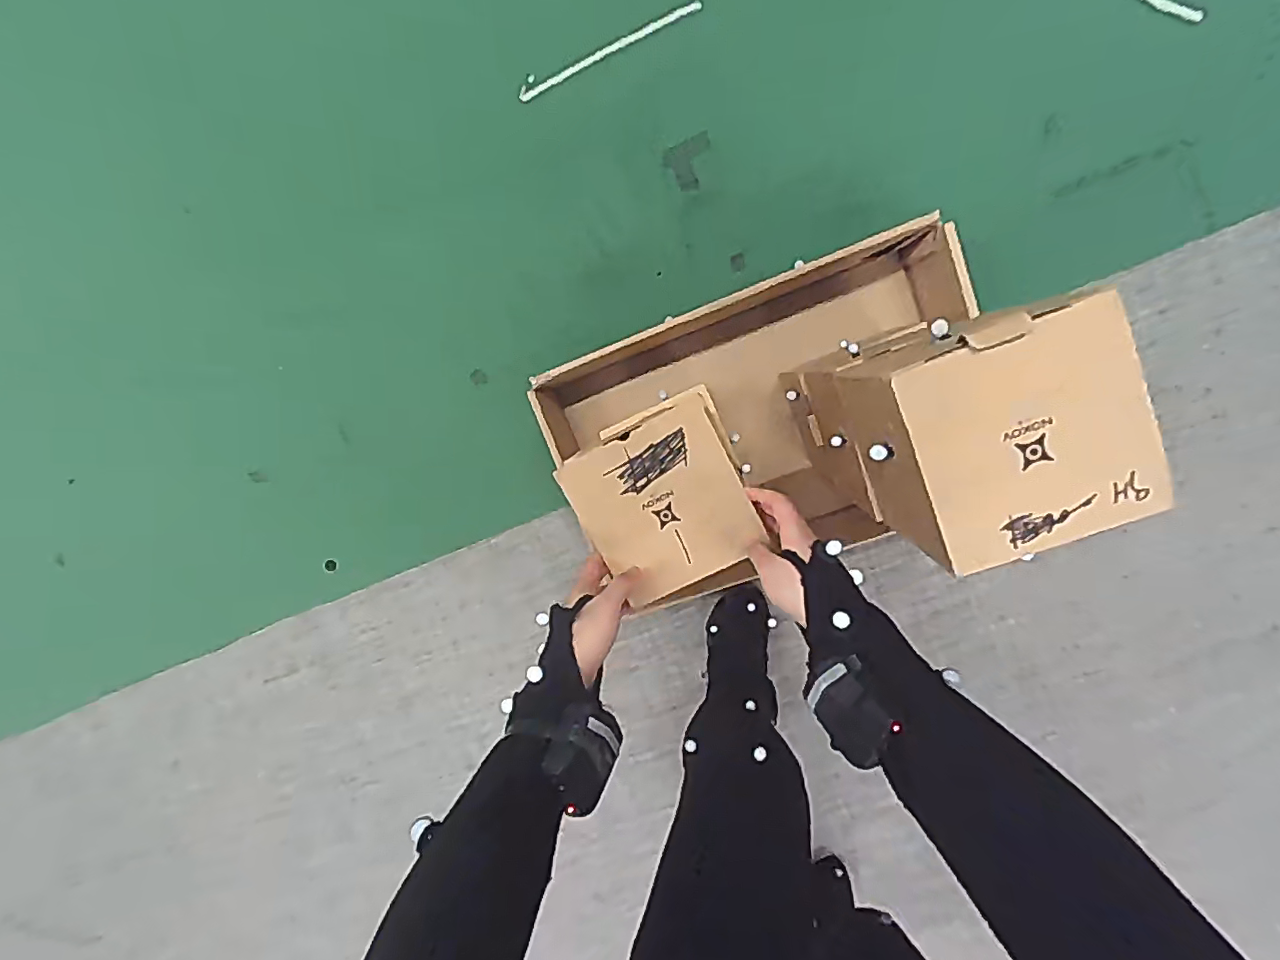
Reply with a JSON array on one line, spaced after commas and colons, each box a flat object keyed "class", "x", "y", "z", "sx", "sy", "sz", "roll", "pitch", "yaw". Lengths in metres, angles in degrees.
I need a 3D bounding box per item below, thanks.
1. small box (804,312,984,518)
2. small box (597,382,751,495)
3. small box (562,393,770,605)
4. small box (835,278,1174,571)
[{"class": "small box", "x": 0.309, "y": -0.078, "z": 0.640, "sx": 0.168, "sy": 0.176, "sz": 0.179, "roll": -19, "pitch": 100, "yaw": 9}, {"class": "small box", "x": 0.051, "y": -0.036, "z": 0.835, "sx": 0.168, "sy": 0.176, "sz": 0.179, "roll": -26, "pitch": 98, "yaw": 7}, {"class": "small box", "x": 0.034, "y": 0.018, "z": 0.638, "sx": 0.168, "sy": 0.176, "sz": 0.179, "roll": -26, "pitch": 90, "yaw": 9}, {"class": "small box", "x": 0.294, "y": -0.048, "z": 0.478, "sx": 0.168, "sy": 0.176, "sz": 0.179, "roll": -22, "pitch": 97, "yaw": 9}]
